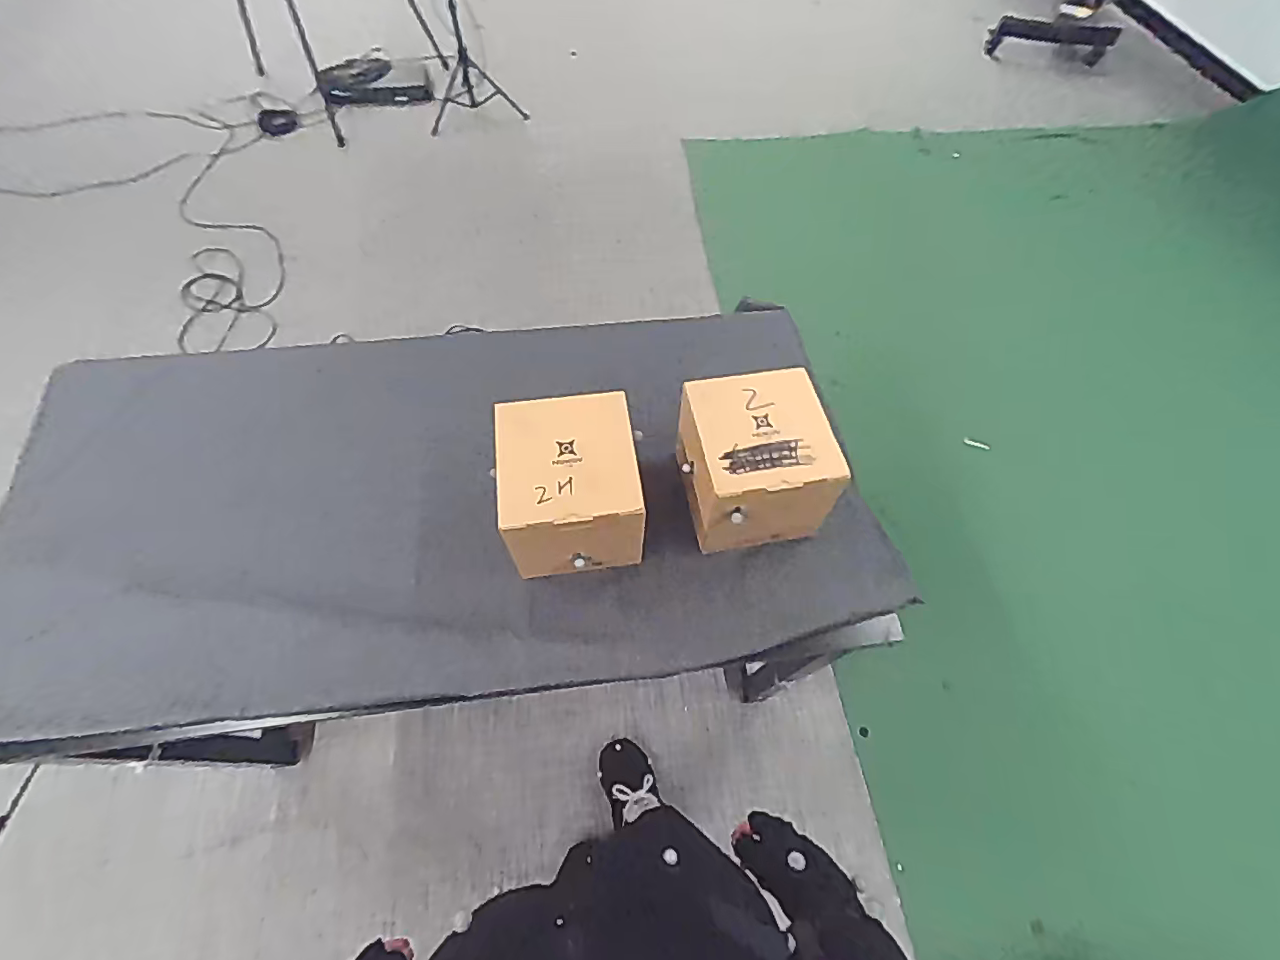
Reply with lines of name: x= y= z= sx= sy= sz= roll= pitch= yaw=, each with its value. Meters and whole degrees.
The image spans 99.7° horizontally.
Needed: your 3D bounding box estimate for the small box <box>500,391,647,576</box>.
small box: x=-0.087 y=0.008 z=0.712 sx=0.168 sy=0.176 sz=0.179 roll=-7 pitch=61 yaw=-5
